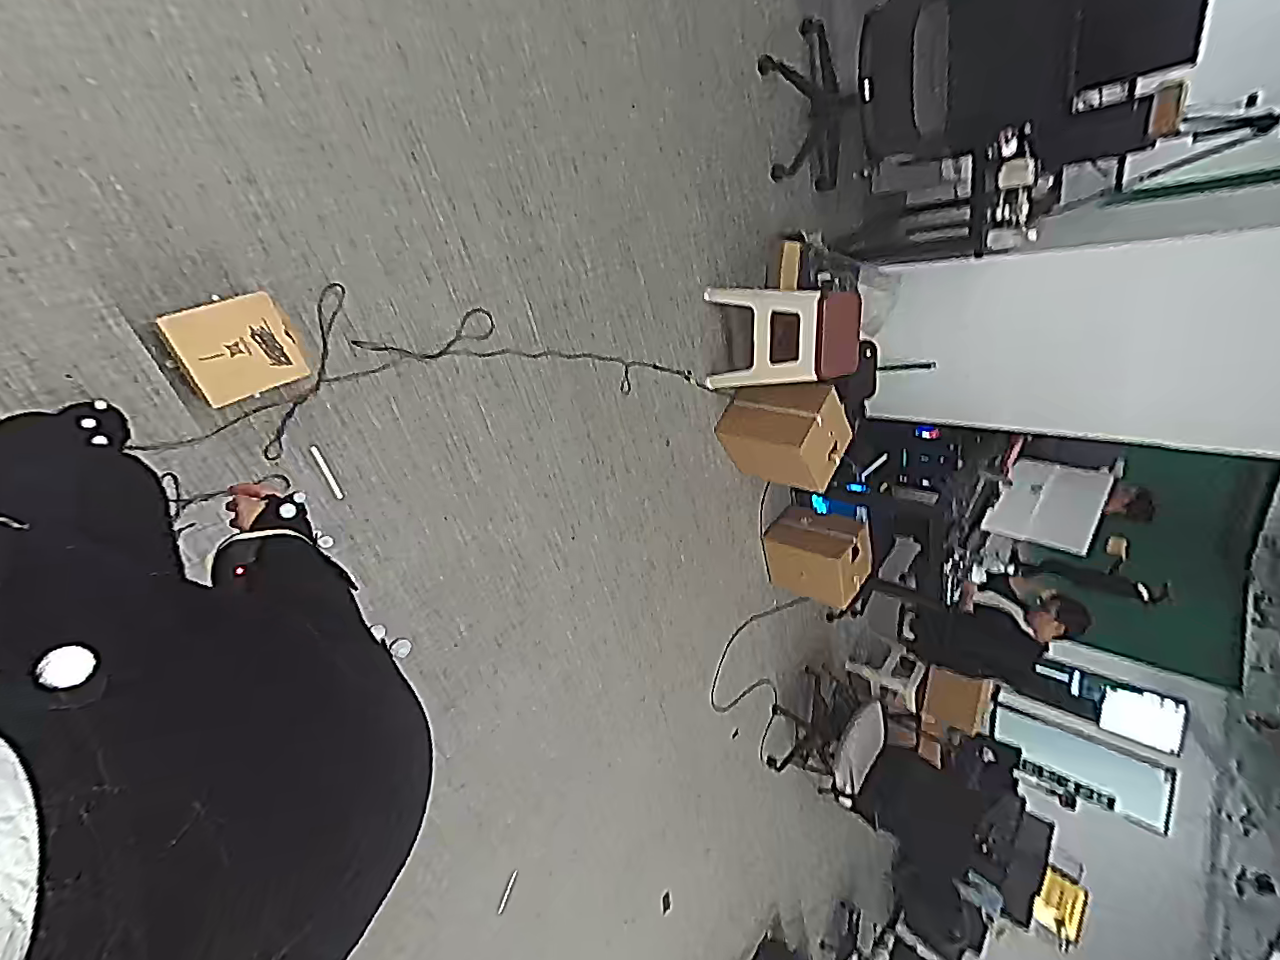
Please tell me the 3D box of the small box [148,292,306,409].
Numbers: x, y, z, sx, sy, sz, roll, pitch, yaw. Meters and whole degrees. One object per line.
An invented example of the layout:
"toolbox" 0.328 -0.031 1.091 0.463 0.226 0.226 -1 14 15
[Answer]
"small box" -0.782 -0.250 1.025 0.179 0.176 0.168 -35 123 -34
